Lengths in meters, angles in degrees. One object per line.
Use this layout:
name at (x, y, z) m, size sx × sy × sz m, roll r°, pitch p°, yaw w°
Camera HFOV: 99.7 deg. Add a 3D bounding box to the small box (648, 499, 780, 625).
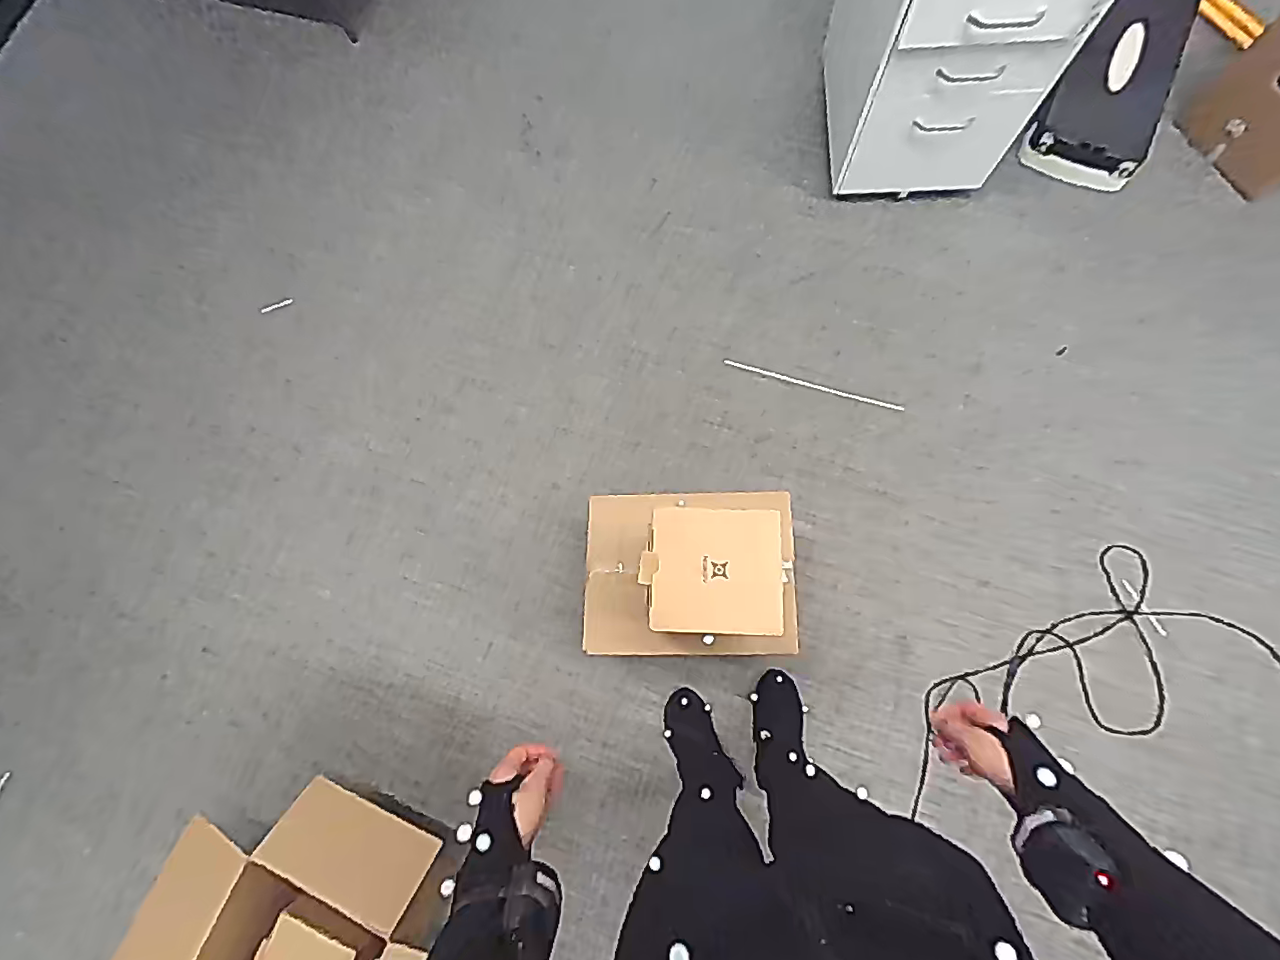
small box at (0.106, 0.123, 0.807) m, size 0.179 × 0.176 × 0.168 m, roll 0°, pitch 78°, yaw 6°
